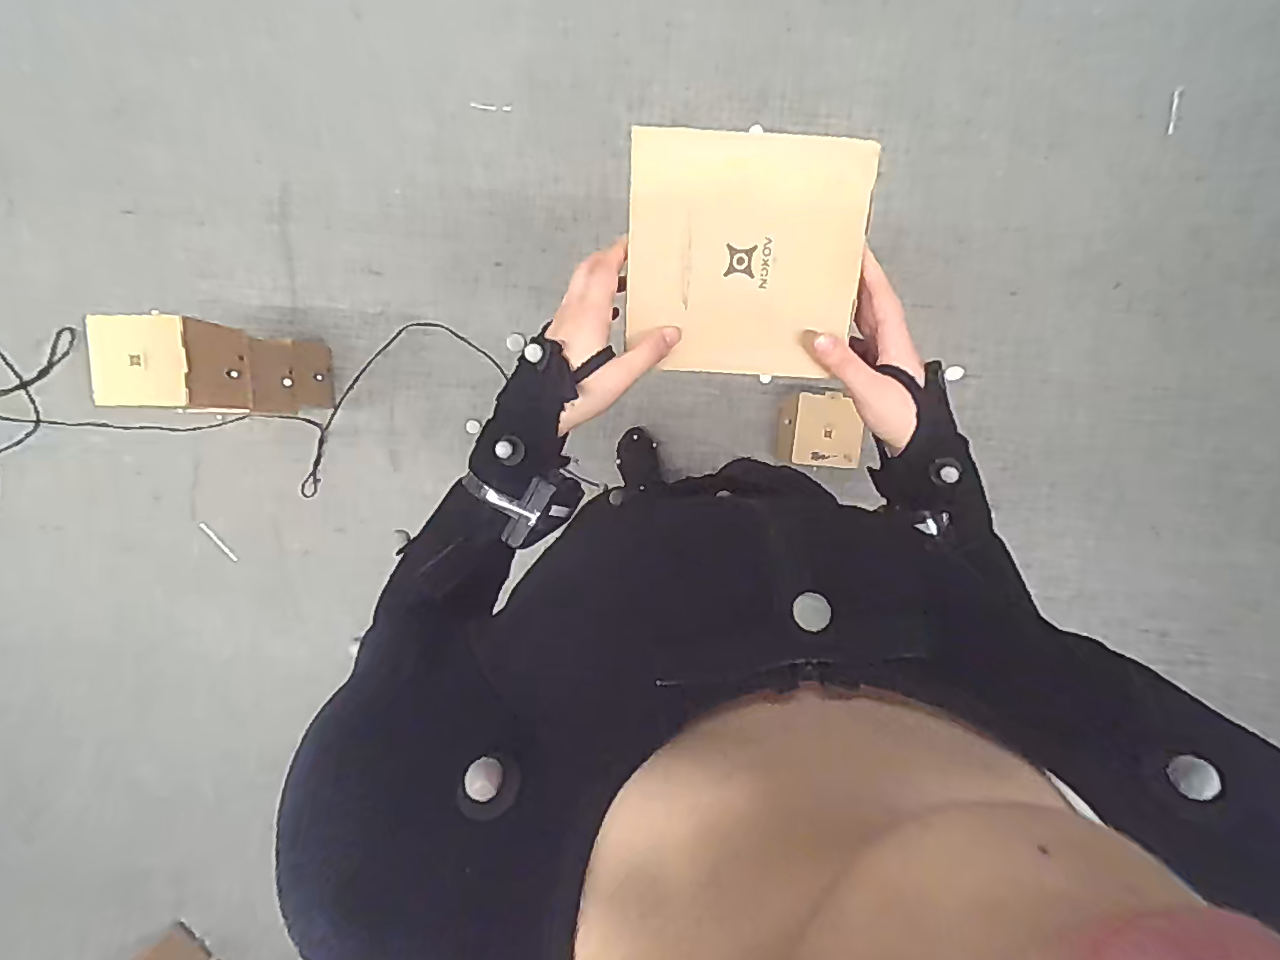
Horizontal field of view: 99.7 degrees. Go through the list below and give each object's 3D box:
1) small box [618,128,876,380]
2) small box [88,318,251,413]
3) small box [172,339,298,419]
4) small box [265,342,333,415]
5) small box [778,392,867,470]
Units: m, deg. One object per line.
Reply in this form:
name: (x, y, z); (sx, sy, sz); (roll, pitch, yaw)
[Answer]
small box: (0.074, -0.184, 0.471); (0.179, 0.176, 0.168); (3, 107, 0)
small box: (-0.914, -0.218, 1.065); (0.179, 0.176, 0.168); (-1, 95, 0)
small box: (-0.917, -0.225, 1.228); (0.179, 0.176, 0.168); (0, 95, 0)
small box: (-0.918, -0.256, 1.390); (0.179, 0.176, 0.168); (-3, 94, 2)
small box: (0.458, -0.123, 1.381); (0.168, 0.176, 0.179); (5, 94, 0)
